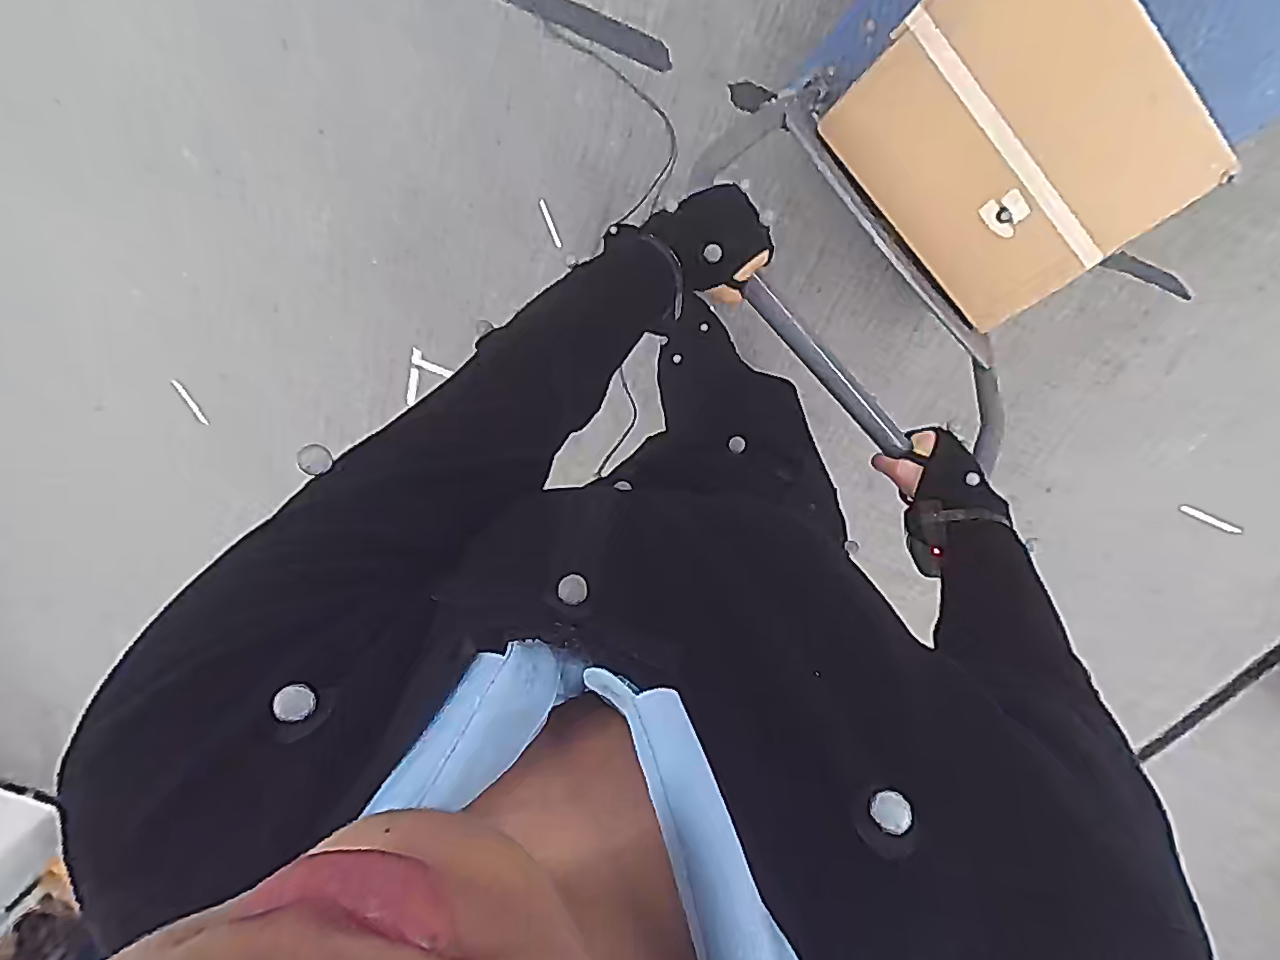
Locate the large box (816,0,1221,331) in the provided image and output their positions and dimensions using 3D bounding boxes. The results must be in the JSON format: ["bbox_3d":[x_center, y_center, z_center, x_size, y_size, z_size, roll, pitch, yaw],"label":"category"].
[{"bbox_3d":[0.534,-0.521,0.839,0.408,0.320,0.320,43,130,-11],"label":"large box"}]
